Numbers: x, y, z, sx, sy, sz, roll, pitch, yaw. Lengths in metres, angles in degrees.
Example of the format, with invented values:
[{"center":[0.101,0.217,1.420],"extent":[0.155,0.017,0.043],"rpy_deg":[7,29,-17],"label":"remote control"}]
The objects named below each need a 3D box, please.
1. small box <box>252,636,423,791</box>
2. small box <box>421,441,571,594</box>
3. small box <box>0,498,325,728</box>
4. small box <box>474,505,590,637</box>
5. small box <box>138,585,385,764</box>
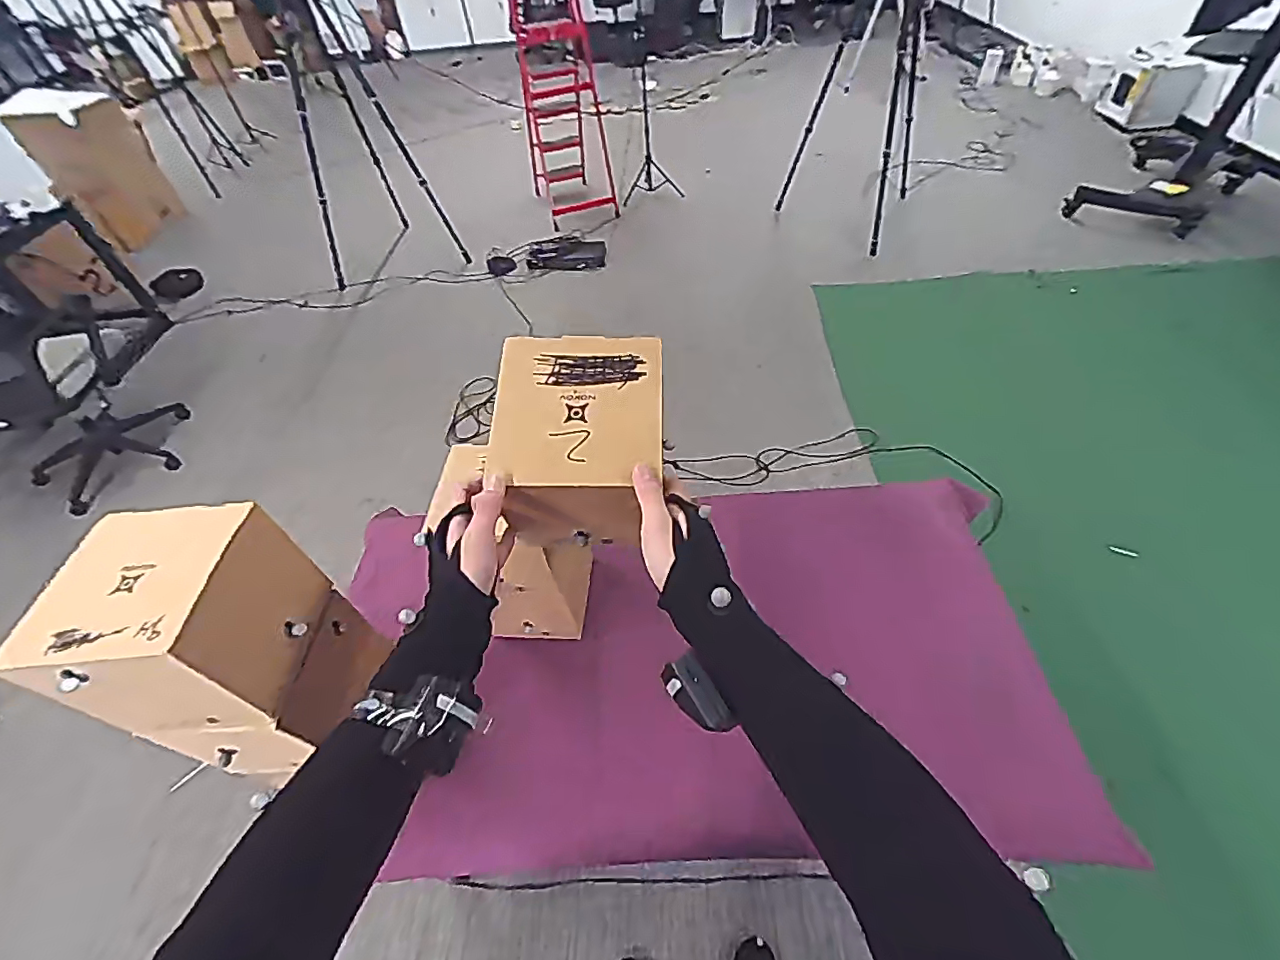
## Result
[{"center":[-0.453,0.358,0.825],"extent":[0.168,0.176,0.179],"rpy_deg":[-4,49,3],"label":"small box"},{"center":[-0.207,0.058,0.839],"extent":[0.168,0.176,0.179],"rpy_deg":[-1,50,5],"label":"small box"},{"center":[-0.477,0.143,0.579],"extent":[0.168,0.176,0.179],"rpy_deg":[-6,46,4],"label":"small box"},{"center":[-0.188,0.160,0.967],"extent":[0.168,0.176,0.179],"rpy_deg":[0,50,7],"label":"small box"},{"center":[-0.462,0.256,0.699],"extent":[0.168,0.176,0.179],"rpy_deg":[-4,47,4],"label":"small box"}]
